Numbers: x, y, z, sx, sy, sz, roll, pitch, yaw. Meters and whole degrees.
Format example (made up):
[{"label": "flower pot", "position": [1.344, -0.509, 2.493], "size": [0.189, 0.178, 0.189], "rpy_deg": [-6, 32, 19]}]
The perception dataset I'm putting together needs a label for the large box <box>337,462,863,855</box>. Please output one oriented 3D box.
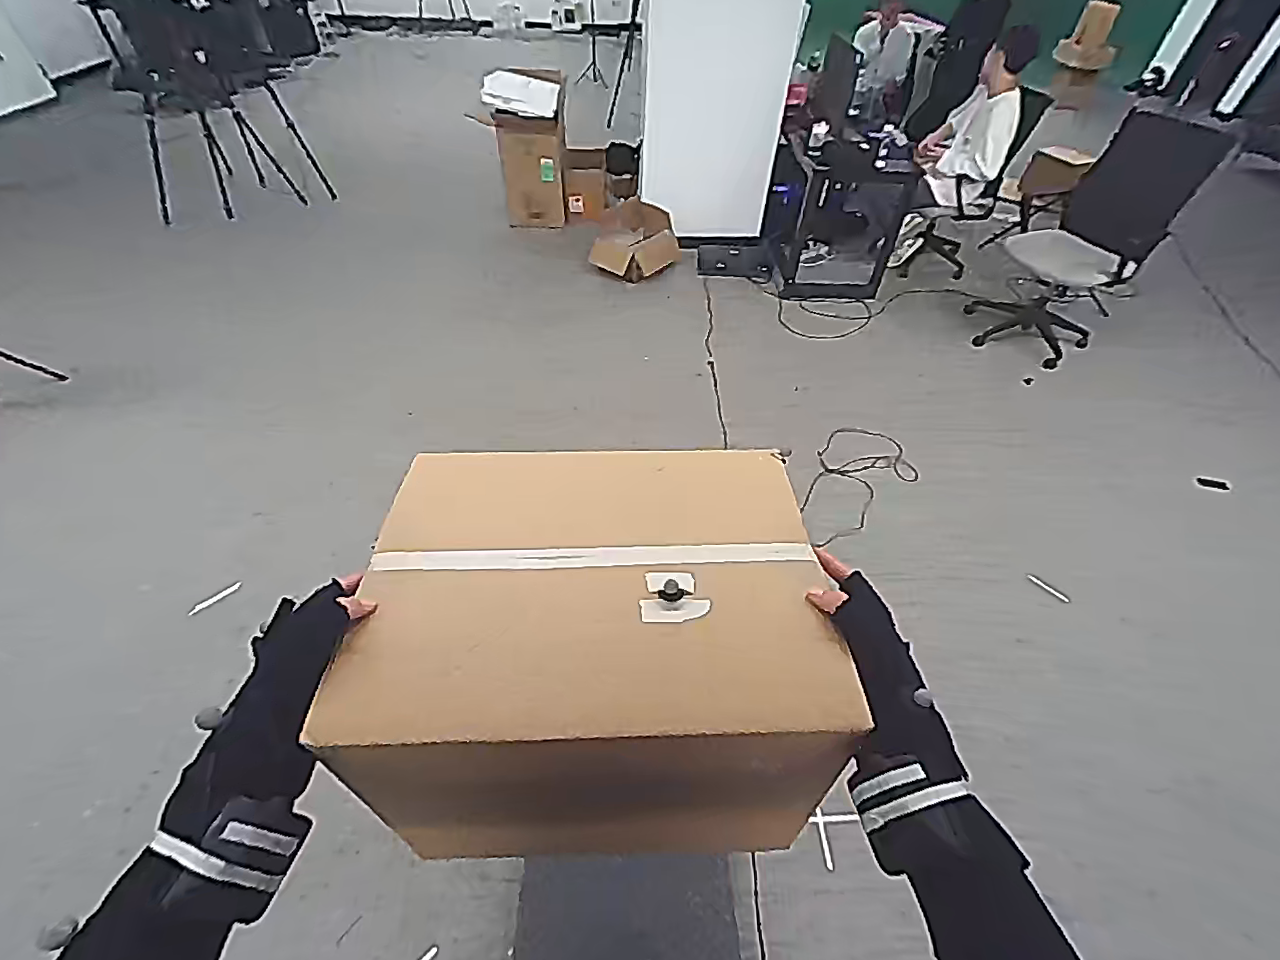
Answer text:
[{"label": "large box", "position": [-0.034, 0.194, 0.610], "size": [0.408, 0.320, 0.320], "rpy_deg": [0, 43, -1]}]
